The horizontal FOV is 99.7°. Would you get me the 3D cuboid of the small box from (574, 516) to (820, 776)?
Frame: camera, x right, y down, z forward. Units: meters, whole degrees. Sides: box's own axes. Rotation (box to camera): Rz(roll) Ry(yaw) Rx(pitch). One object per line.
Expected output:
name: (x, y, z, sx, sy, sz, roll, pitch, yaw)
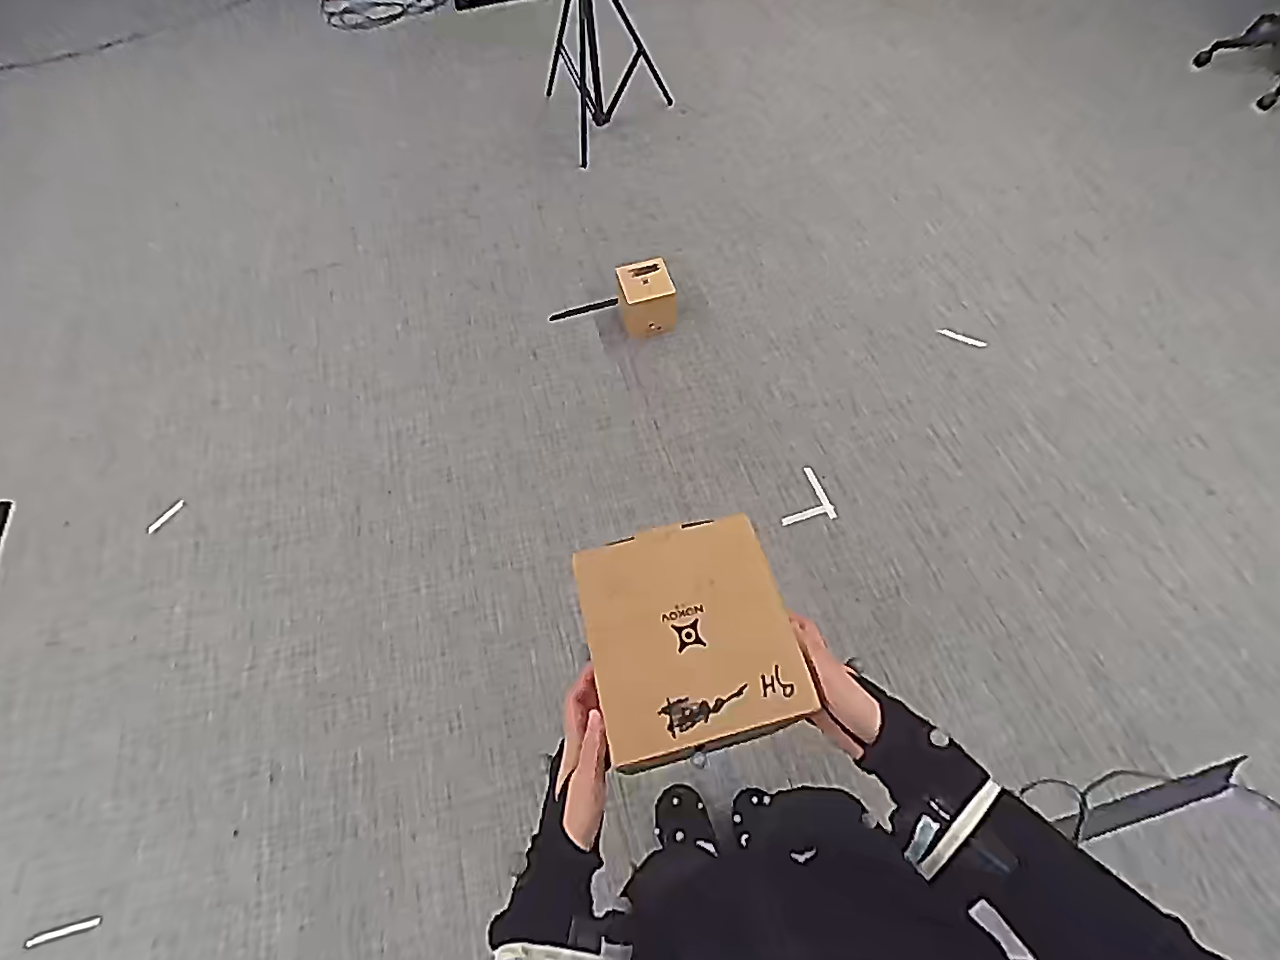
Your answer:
small box: (0.039, 0.161, 0.510, 0.168, 0.176, 0.179, -13, 60, -6)
